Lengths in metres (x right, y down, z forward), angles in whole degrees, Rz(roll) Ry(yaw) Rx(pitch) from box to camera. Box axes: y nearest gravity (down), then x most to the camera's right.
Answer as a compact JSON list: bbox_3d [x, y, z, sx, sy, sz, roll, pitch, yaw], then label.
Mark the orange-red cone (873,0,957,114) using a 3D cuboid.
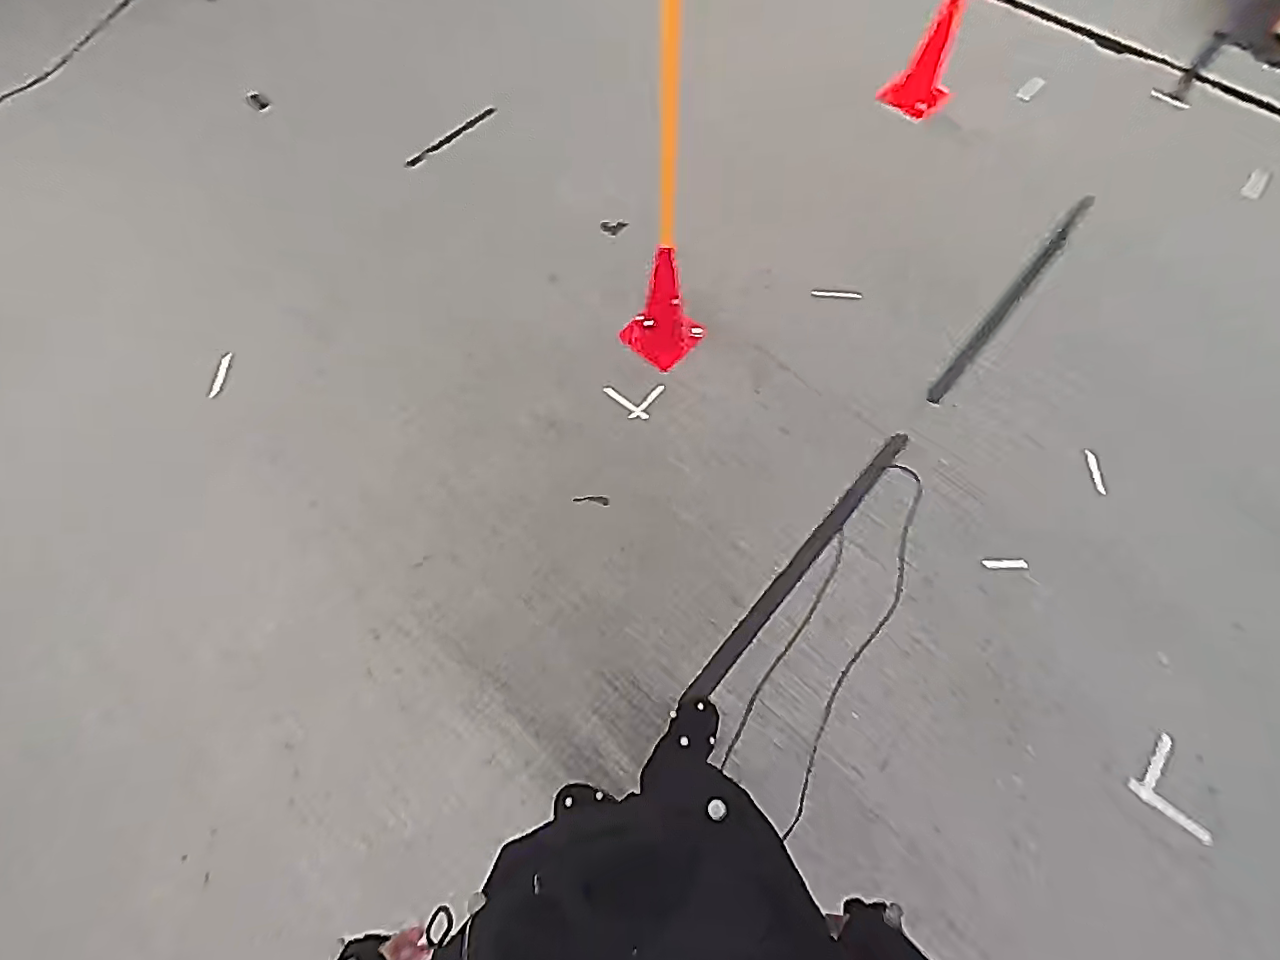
[{"bbox_3d":[0.981,-1.495,1.828,0.198,0.360,0.199,42,74,15],"label":"orange-red cone"}]
